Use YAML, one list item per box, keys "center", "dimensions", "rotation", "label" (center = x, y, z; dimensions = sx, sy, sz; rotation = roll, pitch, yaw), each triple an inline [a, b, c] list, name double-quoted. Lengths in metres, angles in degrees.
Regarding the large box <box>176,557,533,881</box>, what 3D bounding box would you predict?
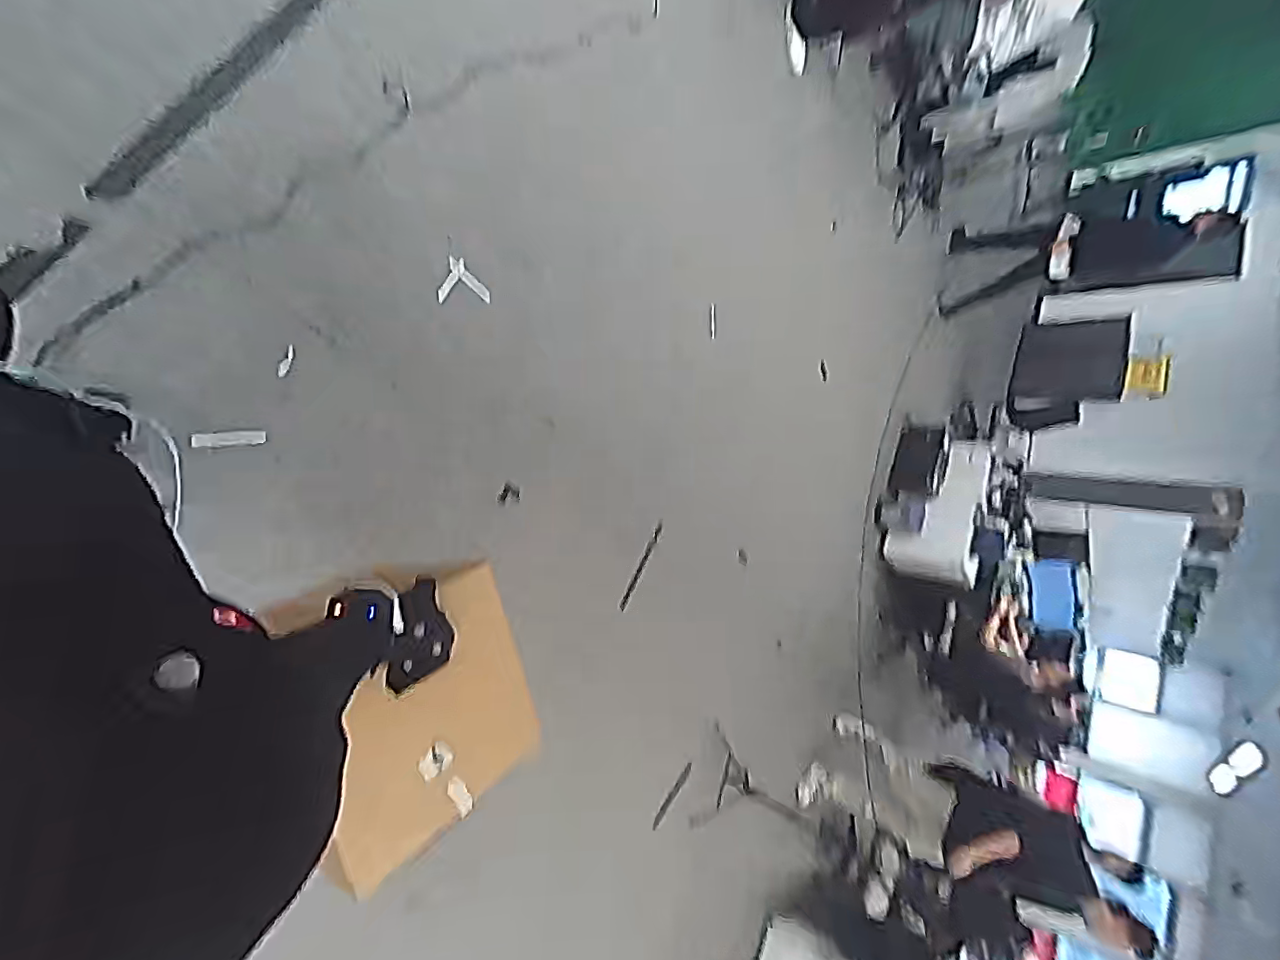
- center: [-0.447, 0.337, 0.862]
  dimensions: [0.320, 0.408, 0.320]
  rotation: [-24, 99, -51]
  label: "large box"
